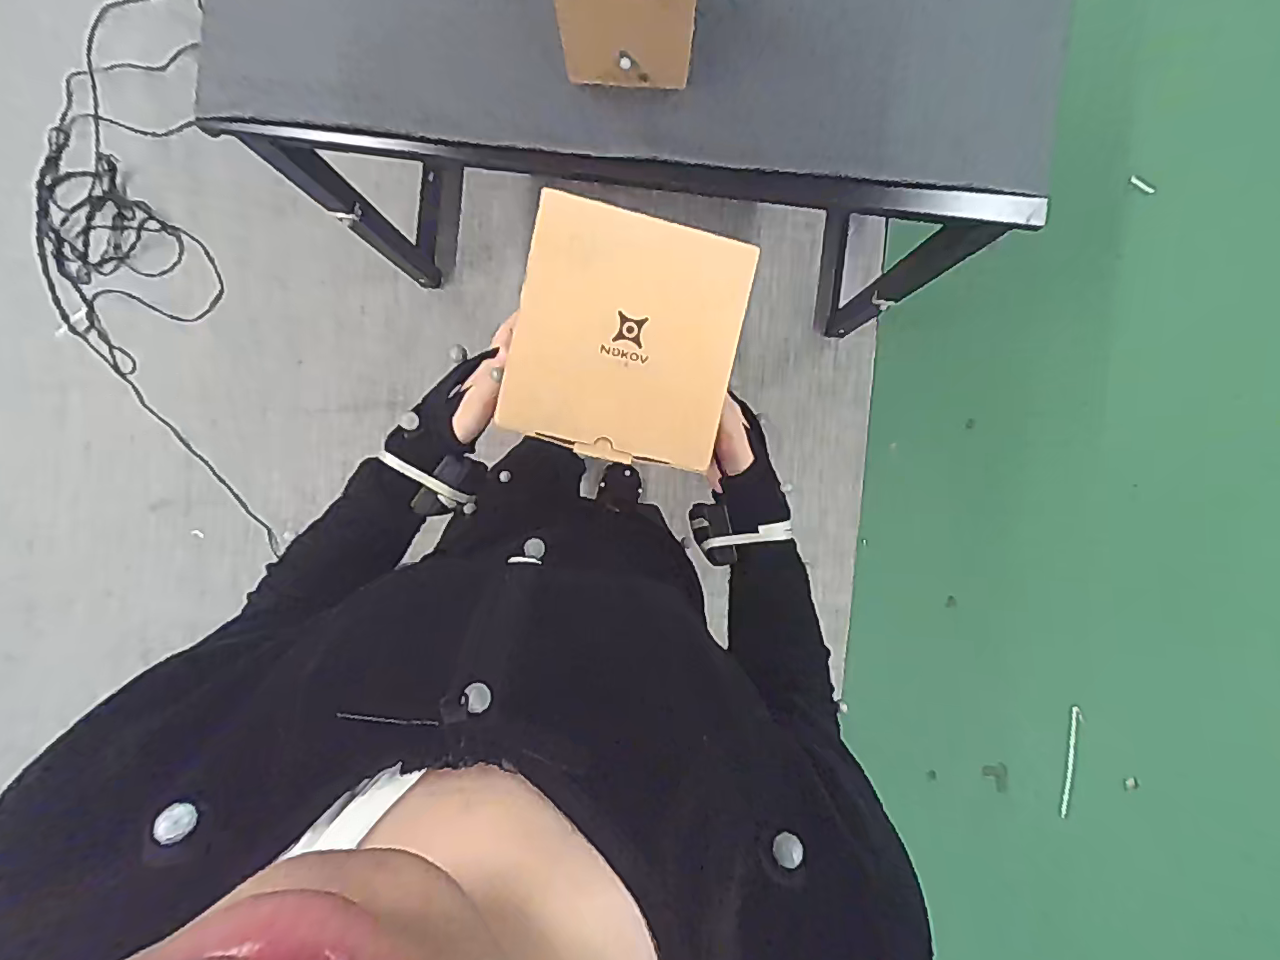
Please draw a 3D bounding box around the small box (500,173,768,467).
[{"bbox_3d":[-0.013,-0.117,0.464,0.168,0.176,0.179,12,94,-8],"label":"small box"}]

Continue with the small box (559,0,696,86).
[{"bbox_3d":[-0.013,-0.635,0.663,0.168,0.176,0.179,3,90,0],"label":"small box"}]
